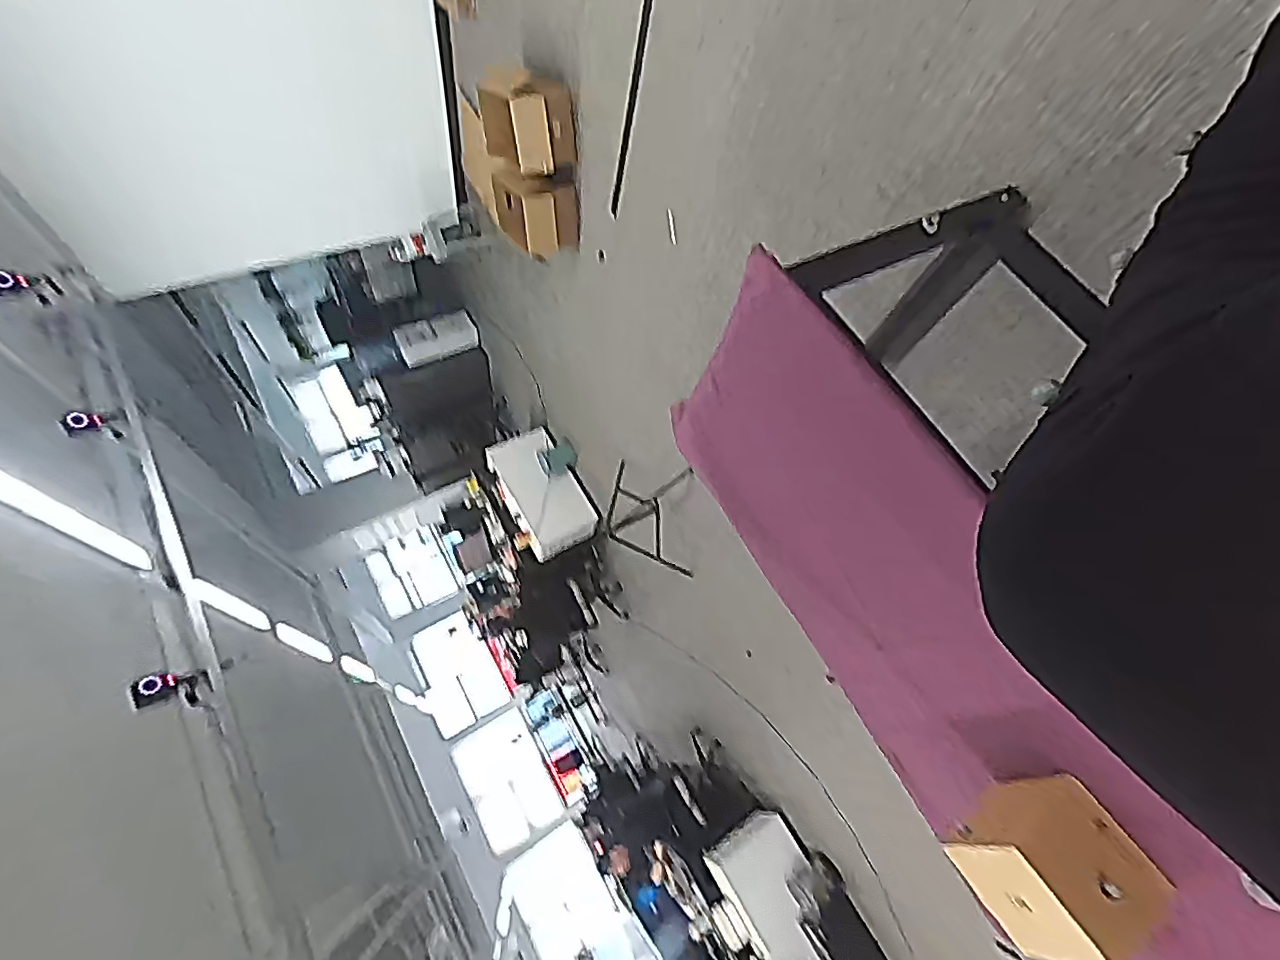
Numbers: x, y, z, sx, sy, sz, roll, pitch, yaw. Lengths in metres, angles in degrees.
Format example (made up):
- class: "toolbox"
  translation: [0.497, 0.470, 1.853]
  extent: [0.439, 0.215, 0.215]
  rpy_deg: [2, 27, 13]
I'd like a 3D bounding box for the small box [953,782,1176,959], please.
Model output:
- class: "small box"
  translation: [0.621, 0.573, 0.796]
  extent: [0.168, 0.176, 0.179]
  rpy_deg: [54, 155, 25]
